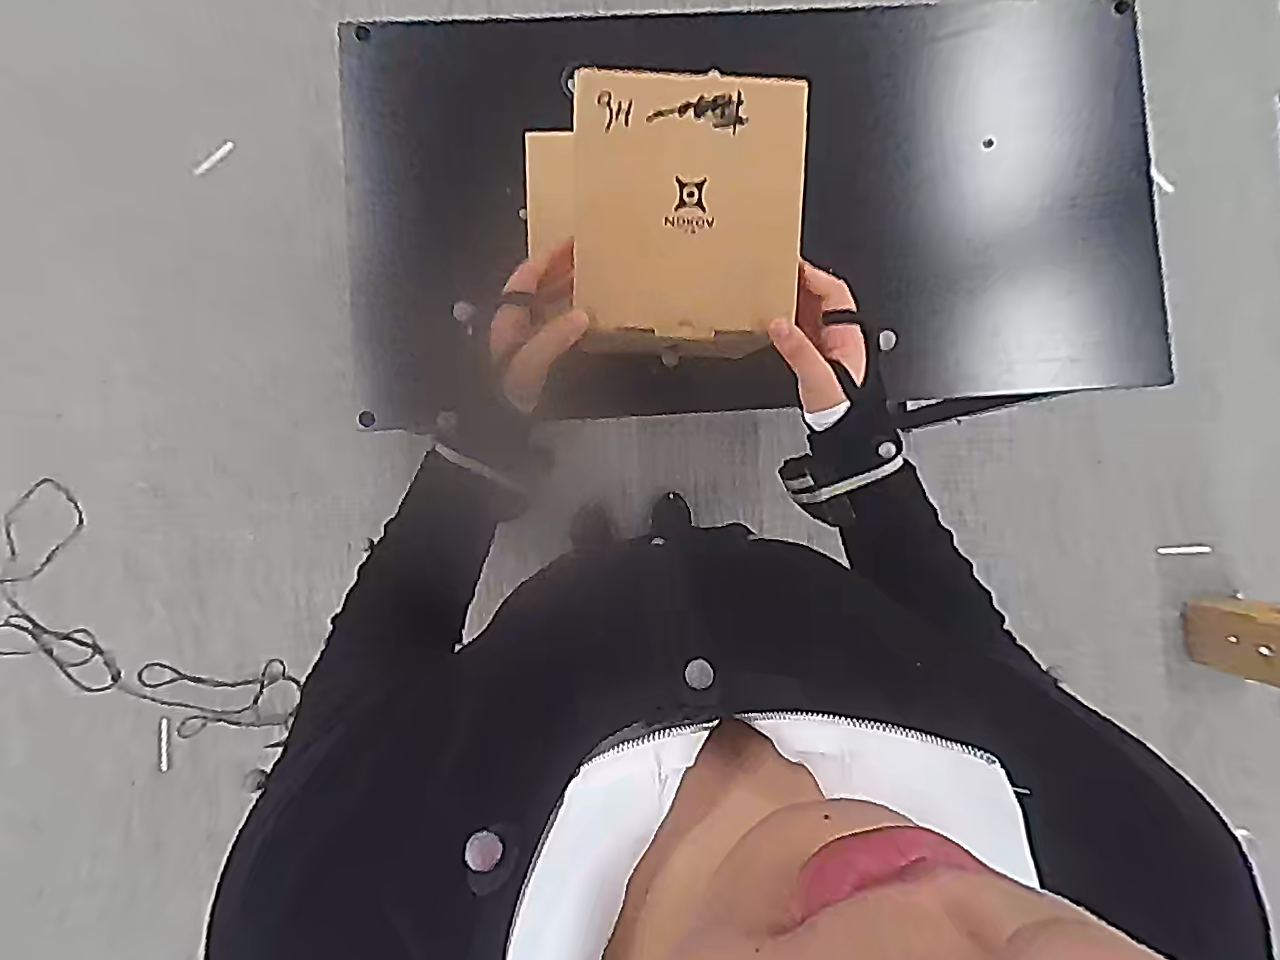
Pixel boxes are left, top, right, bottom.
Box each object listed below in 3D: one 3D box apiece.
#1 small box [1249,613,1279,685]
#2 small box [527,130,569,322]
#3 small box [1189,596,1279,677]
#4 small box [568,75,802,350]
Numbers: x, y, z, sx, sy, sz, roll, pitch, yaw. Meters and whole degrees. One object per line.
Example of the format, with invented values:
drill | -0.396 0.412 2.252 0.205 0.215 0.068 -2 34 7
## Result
small box | 1.639 0.412 1.289 0.179 0.176 0.168 -7 87 0
small box | -0.054 -0.323 0.713 0.168 0.176 0.179 -2 88 -1
small box | 1.638 0.413 1.451 0.168 0.176 0.179 -5 89 -1
small box | 0.028 -0.207 0.468 0.168 0.176 0.179 0 99 -3
